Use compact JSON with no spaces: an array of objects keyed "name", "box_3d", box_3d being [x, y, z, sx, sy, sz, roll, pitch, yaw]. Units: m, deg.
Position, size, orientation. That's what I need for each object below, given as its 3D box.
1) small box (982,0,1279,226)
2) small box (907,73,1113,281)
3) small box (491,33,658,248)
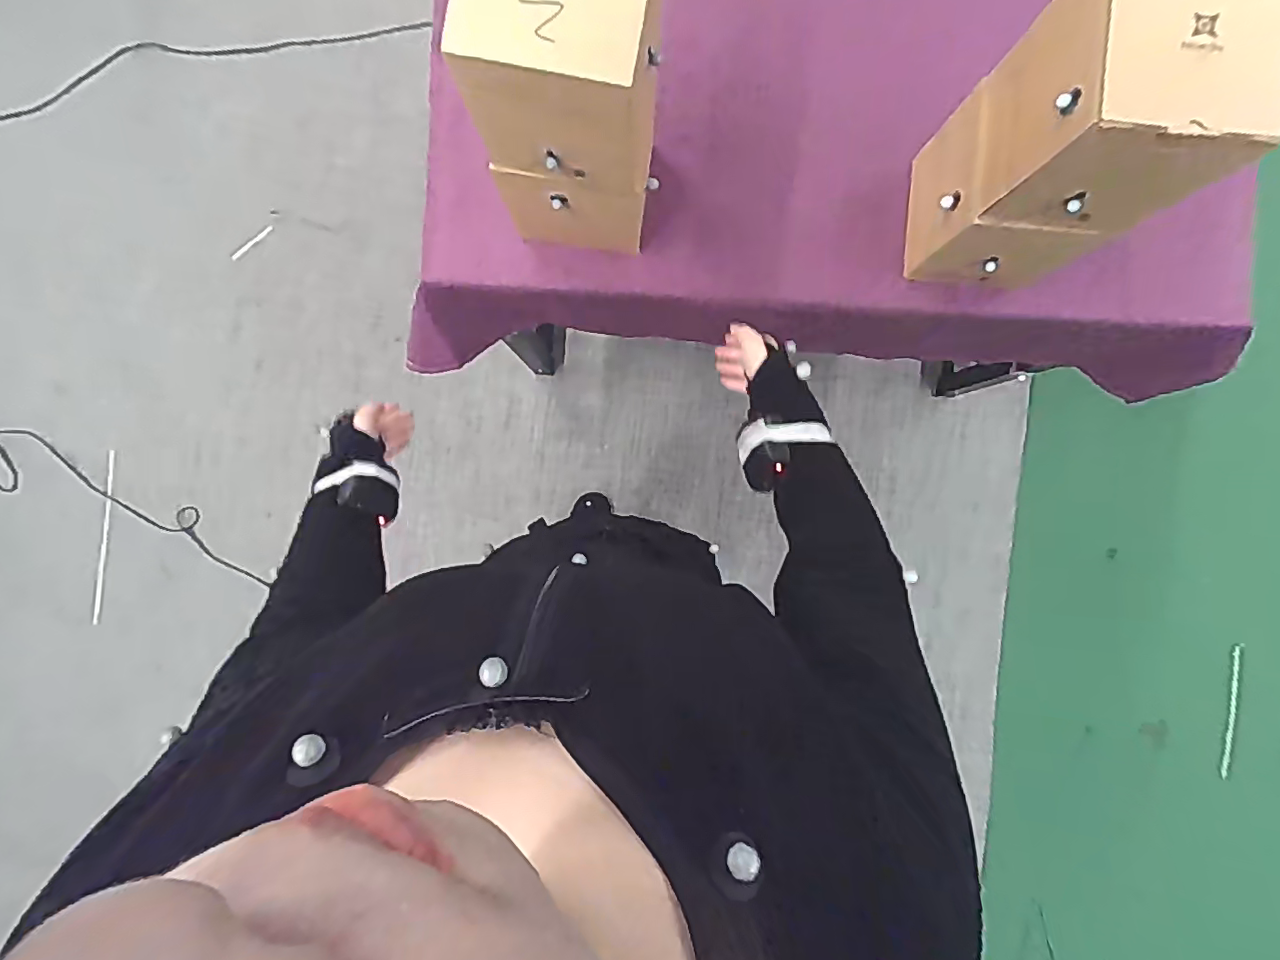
[{"name":"small box","box_3d":[0.476,-0.384,0.539,0.168,0.176,0.179,5,91,0]},{"name":"small box","box_3d":[0.469,-0.376,0.702,0.168,0.176,0.179,5,90,-1]},{"name":"small box","box_3d":[-0.076,-0.421,0.700,0.179,0.176,0.168,7,90,-1]}]
